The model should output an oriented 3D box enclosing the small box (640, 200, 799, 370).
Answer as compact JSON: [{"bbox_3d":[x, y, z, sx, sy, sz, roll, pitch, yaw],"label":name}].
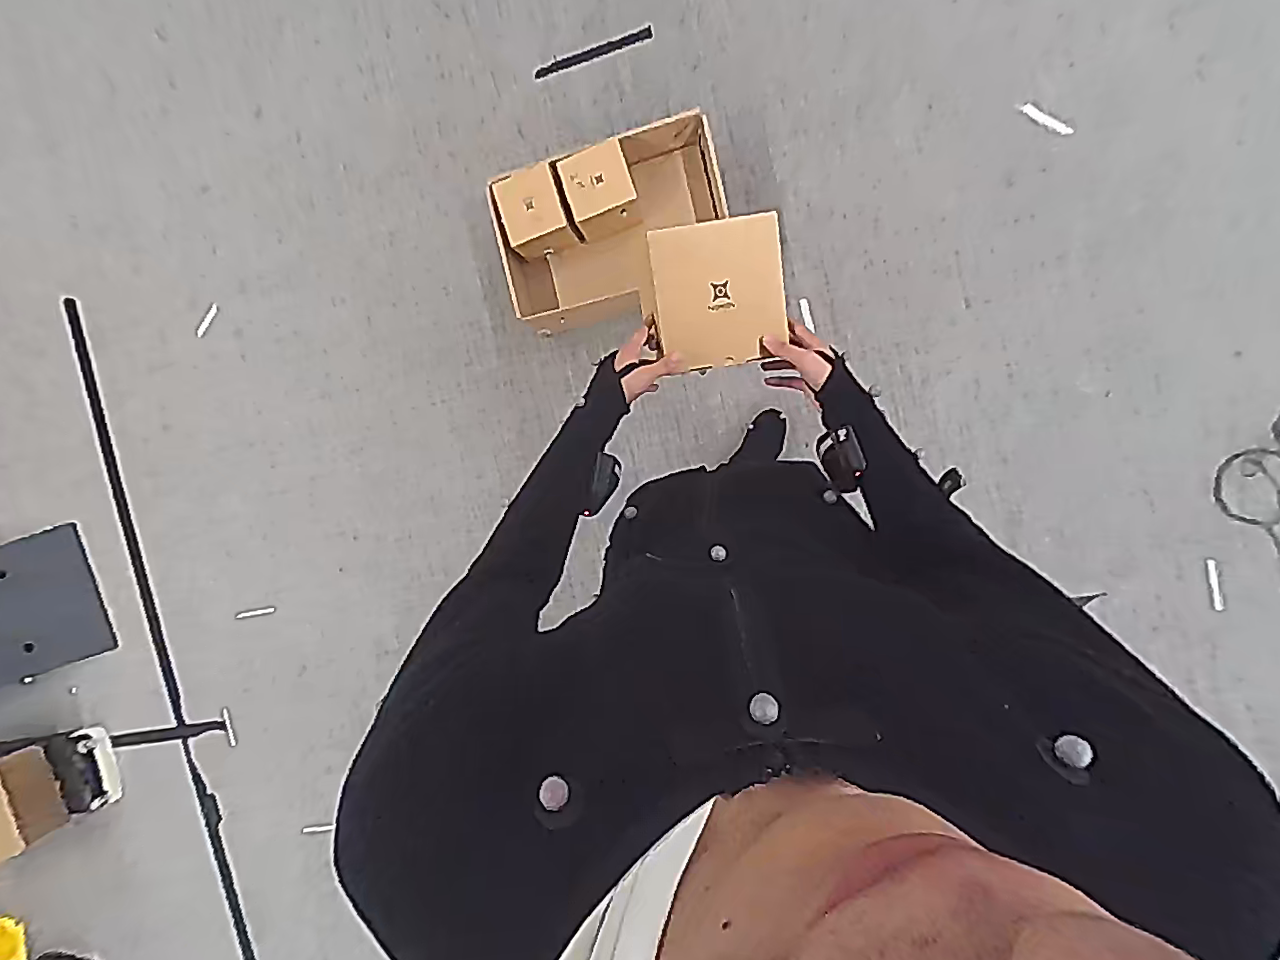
[{"bbox_3d":[0.099,-0.254,0.737,0.168,0.176,0.179,-12,106,-2],"label":"small box"}]

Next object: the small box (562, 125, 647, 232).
[{"bbox_3d":[-0.087,-0.805,1.459,0.179,0.176,0.168,-19,93,9],"label":"small box"}]
